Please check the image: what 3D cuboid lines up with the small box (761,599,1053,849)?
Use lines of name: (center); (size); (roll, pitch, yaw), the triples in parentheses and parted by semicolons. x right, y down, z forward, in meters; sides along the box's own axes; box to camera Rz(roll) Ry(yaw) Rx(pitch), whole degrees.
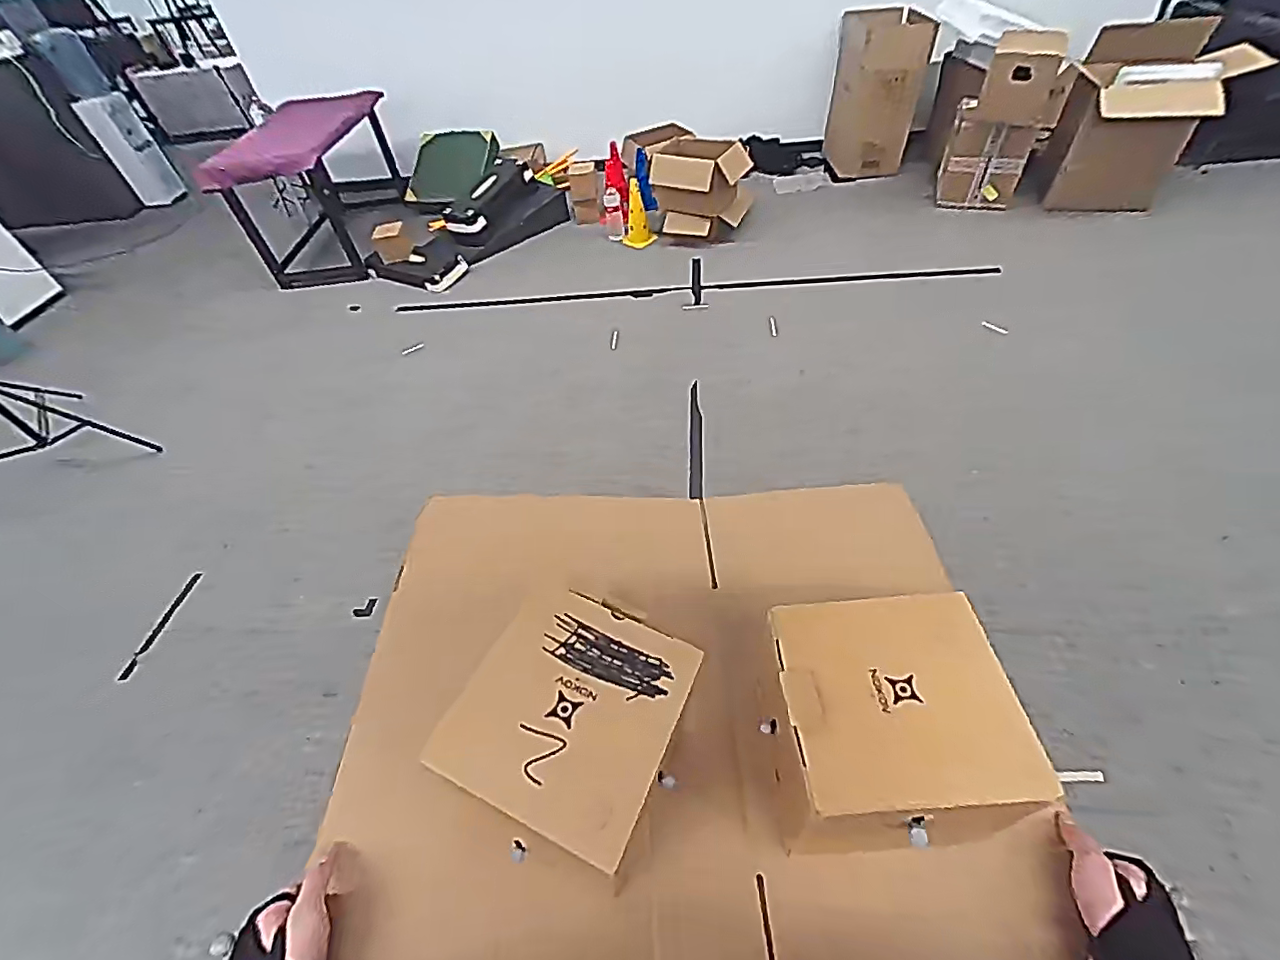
small box: (0.219, 0.230, 0.504); (0.179, 0.176, 0.168); (-6, 47, 3)
